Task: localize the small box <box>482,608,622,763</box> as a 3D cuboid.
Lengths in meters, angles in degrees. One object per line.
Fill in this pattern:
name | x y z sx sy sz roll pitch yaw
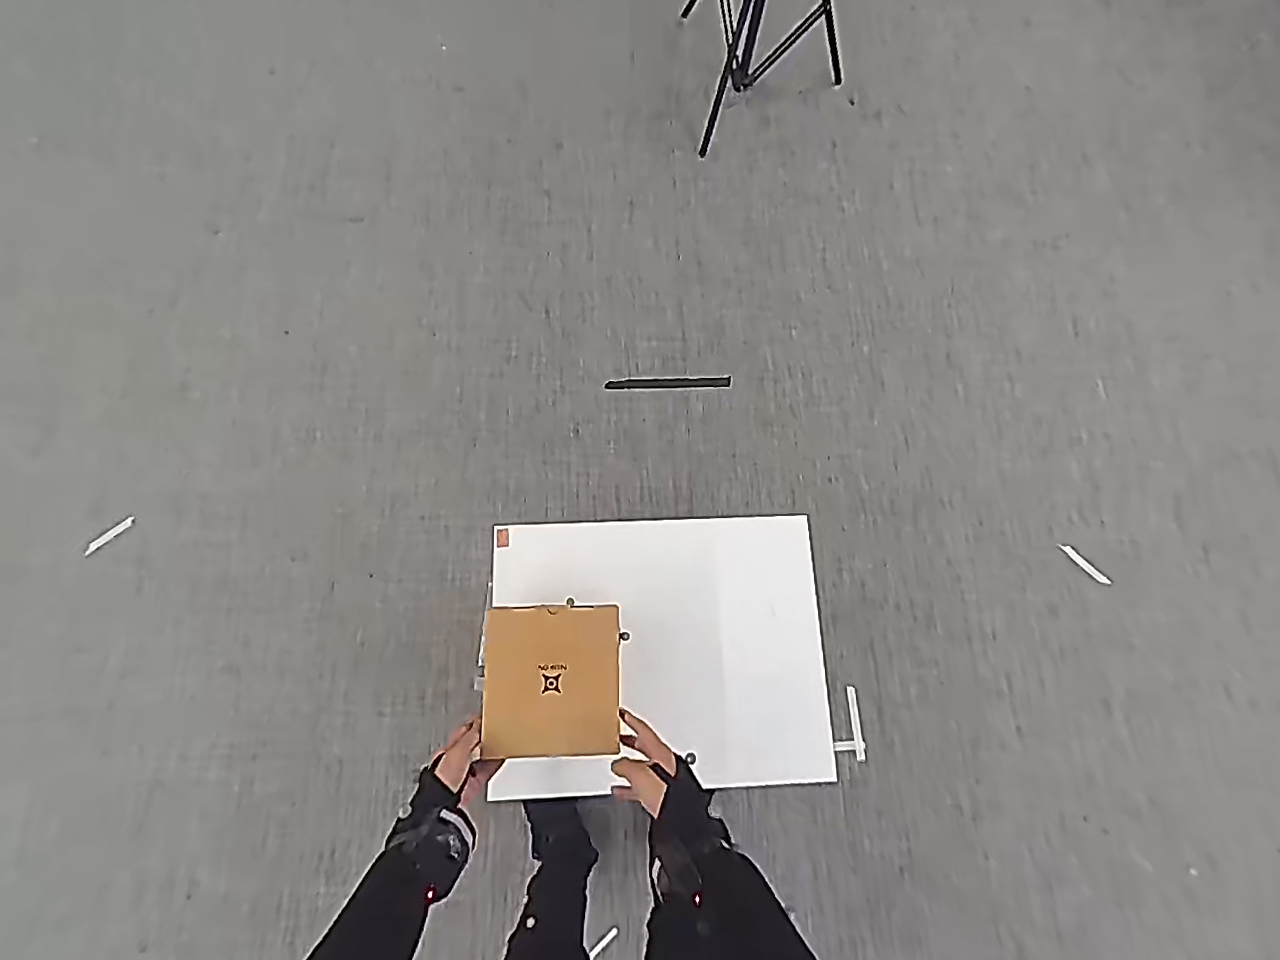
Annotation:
small box | -0.108 0.265 0.732 0.168 0.176 0.179 -1 75 -3
